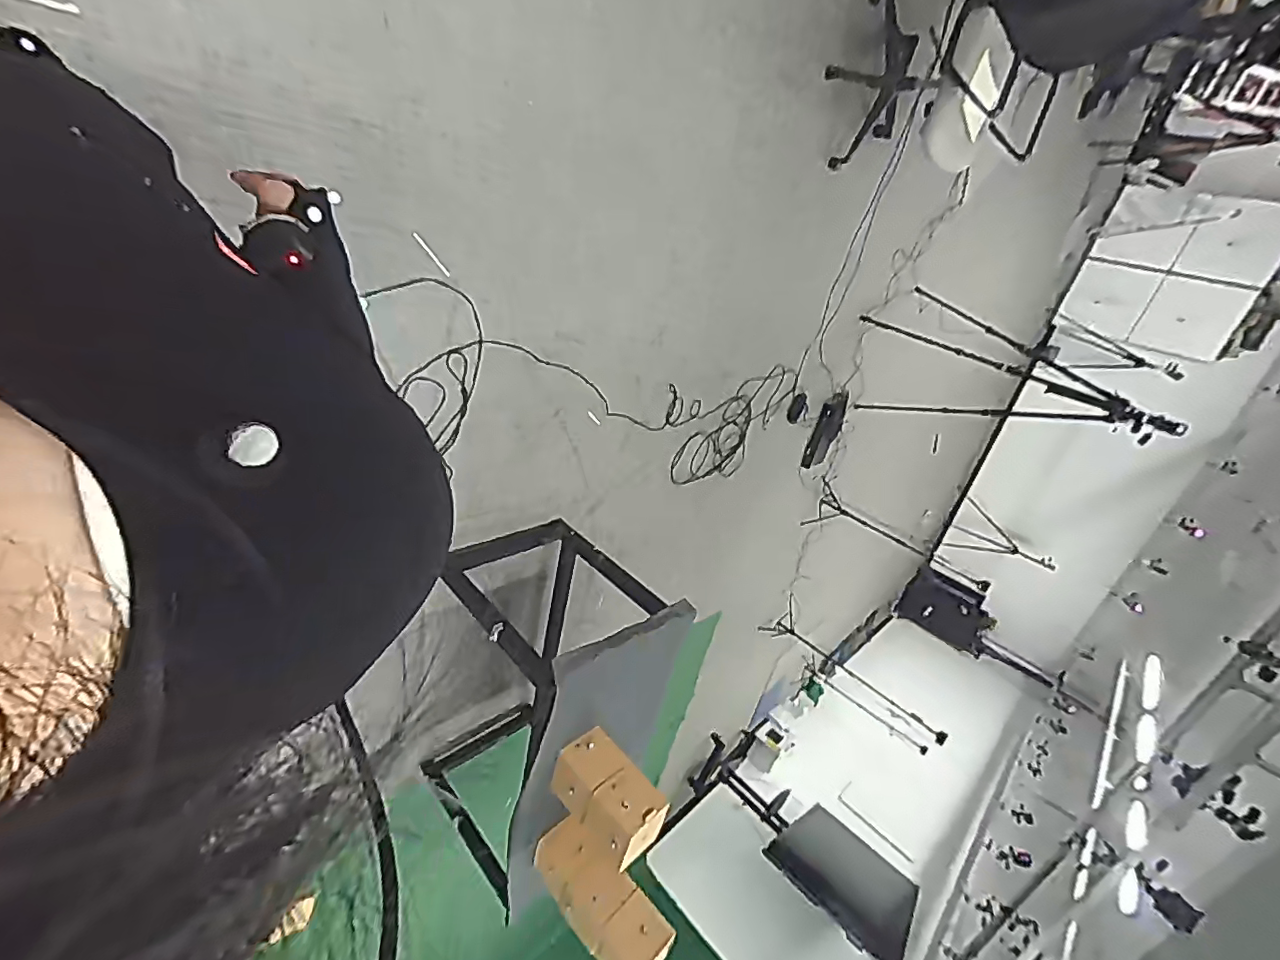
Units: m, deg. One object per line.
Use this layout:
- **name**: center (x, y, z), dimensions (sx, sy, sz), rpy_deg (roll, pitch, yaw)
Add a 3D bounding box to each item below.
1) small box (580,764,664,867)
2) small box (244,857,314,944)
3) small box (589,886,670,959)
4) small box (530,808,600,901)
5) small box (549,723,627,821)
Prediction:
- **small box**: center (-0.058, 0.985, 1.613), dimensions (0.168, 0.176, 0.179), rpy_deg (-12, 126, -45)
- **small box**: center (-1.372, 1.580, 2.050), dimensions (0.168, 0.176, 0.179), rpy_deg (8, 110, -52)
- **small box**: center (-0.035, 1.450, 1.714), dimensions (0.179, 0.176, 0.168), rpy_deg (-19, 130, -44)
- **small box**: center (-0.265, 1.307, 1.899), dimensions (0.179, 0.176, 0.168), rpy_deg (-15, 128, -45)
- **small box**: center (-0.170, 0.916, 1.708), dimensions (0.168, 0.176, 0.179), rpy_deg (-14, 126, -46)
